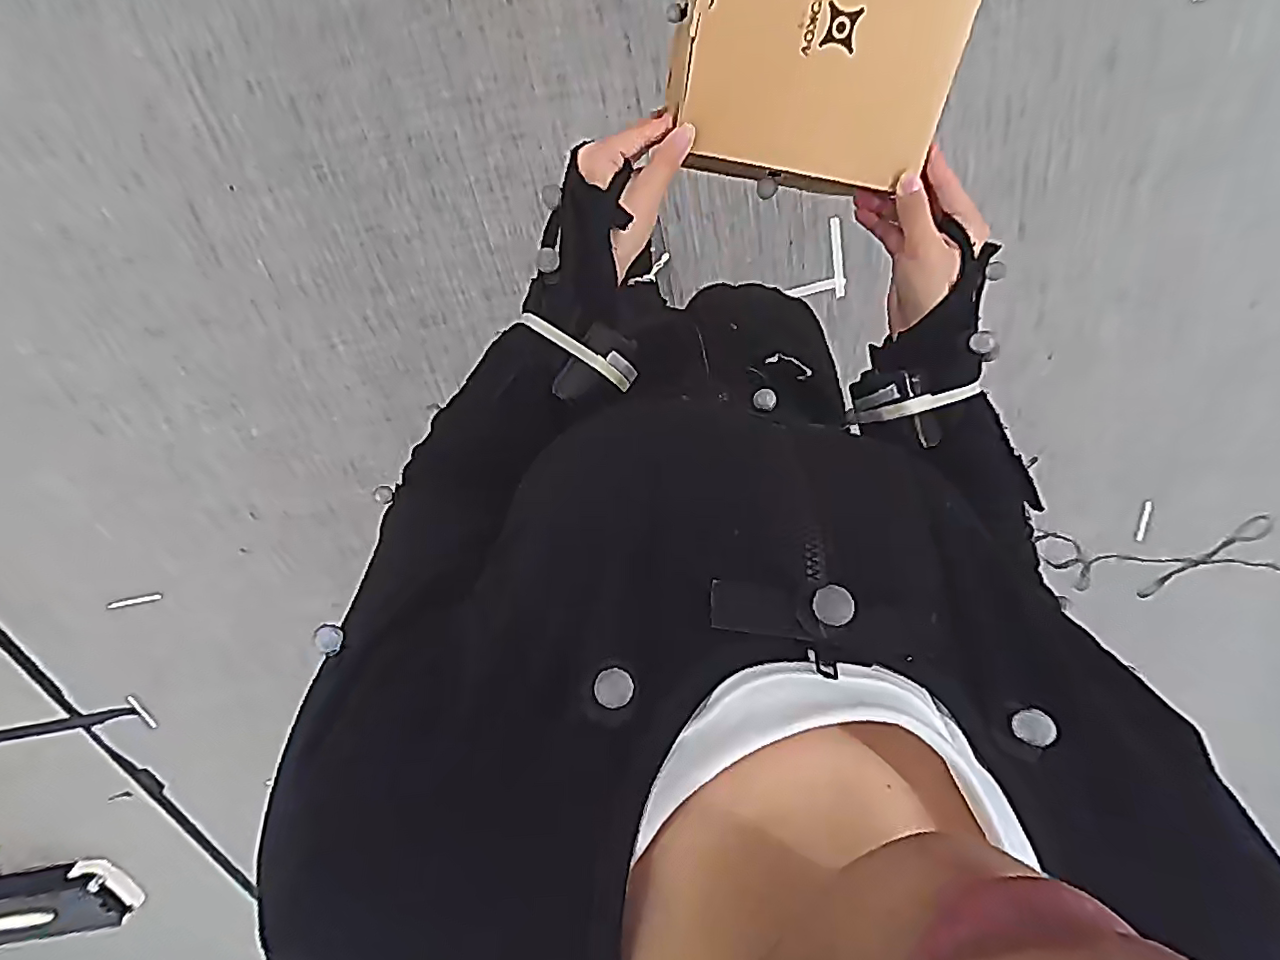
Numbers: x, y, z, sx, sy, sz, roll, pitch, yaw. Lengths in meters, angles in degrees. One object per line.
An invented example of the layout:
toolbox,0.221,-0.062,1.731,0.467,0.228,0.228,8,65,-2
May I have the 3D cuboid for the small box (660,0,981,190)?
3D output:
small box,0.118,-0.326,0.405,0.179,0.176,0.168,7,118,-6
